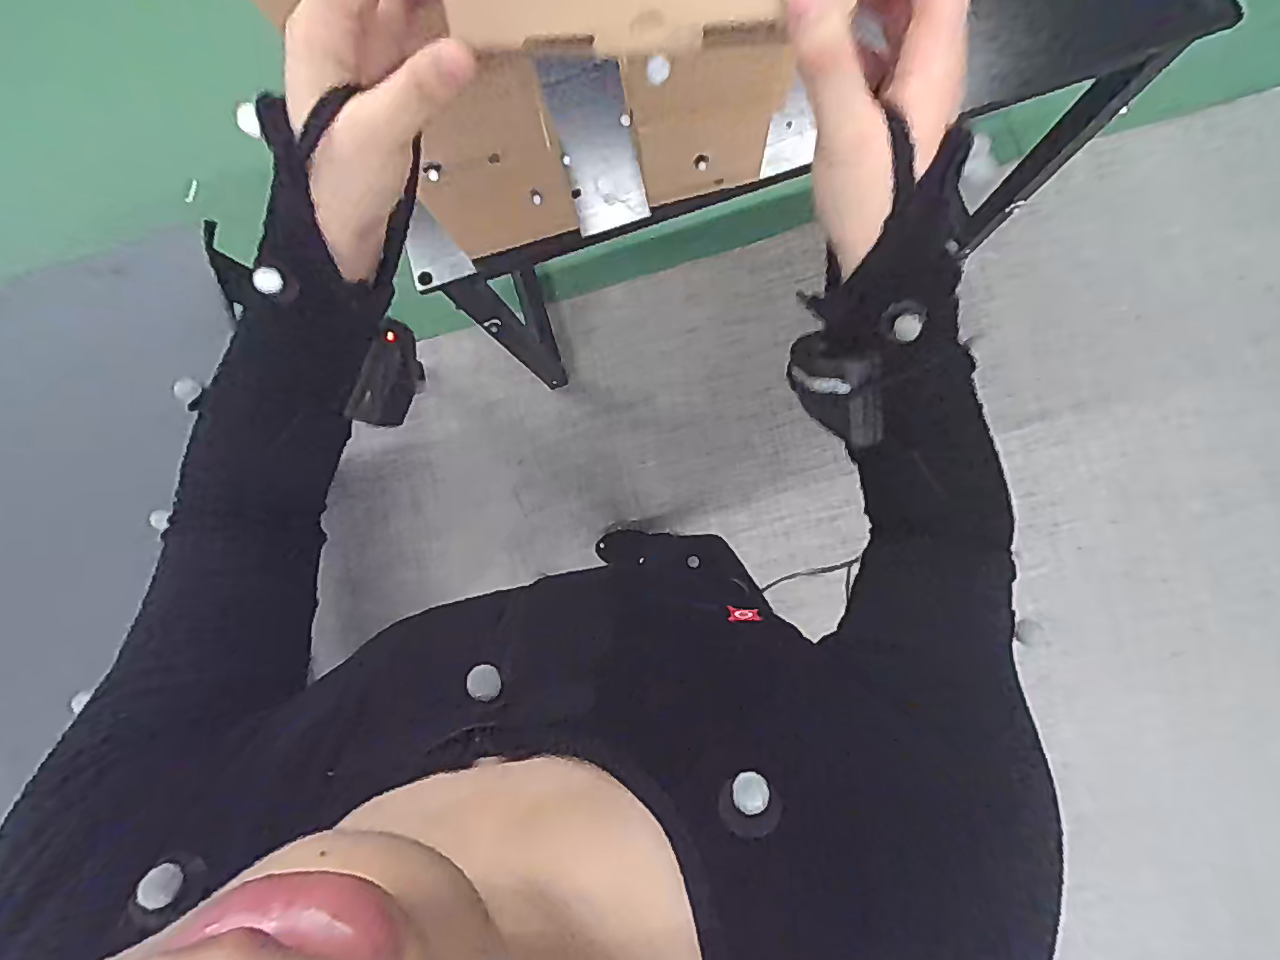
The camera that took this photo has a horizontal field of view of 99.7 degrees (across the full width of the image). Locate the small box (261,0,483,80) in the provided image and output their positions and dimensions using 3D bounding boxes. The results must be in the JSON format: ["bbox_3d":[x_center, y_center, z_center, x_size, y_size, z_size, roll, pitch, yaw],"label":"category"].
[{"bbox_3d":[-0.218,-0.455,0.406,0.179,0.176,0.168,-12,83,4],"label":"small box"}]

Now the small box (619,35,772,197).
[{"bbox_3d":[0.073,-0.503,0.710,0.168,0.176,0.179,-12,85,4],"label":"small box"}]

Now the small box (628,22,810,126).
[{"bbox_3d":[0.074,-0.498,0.545,0.179,0.176,0.168,-4,86,5],"label":"small box"}]

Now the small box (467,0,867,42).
[{"bbox_3d":[0.014,-0.302,0.227,0.168,0.176,0.179,1,128,6],"label":"small box"}]

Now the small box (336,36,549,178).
[{"bbox_3d":[-0.206,-0.452,0.568,0.168,0.176,0.179,-13,84,4],"label":"small box"}]
